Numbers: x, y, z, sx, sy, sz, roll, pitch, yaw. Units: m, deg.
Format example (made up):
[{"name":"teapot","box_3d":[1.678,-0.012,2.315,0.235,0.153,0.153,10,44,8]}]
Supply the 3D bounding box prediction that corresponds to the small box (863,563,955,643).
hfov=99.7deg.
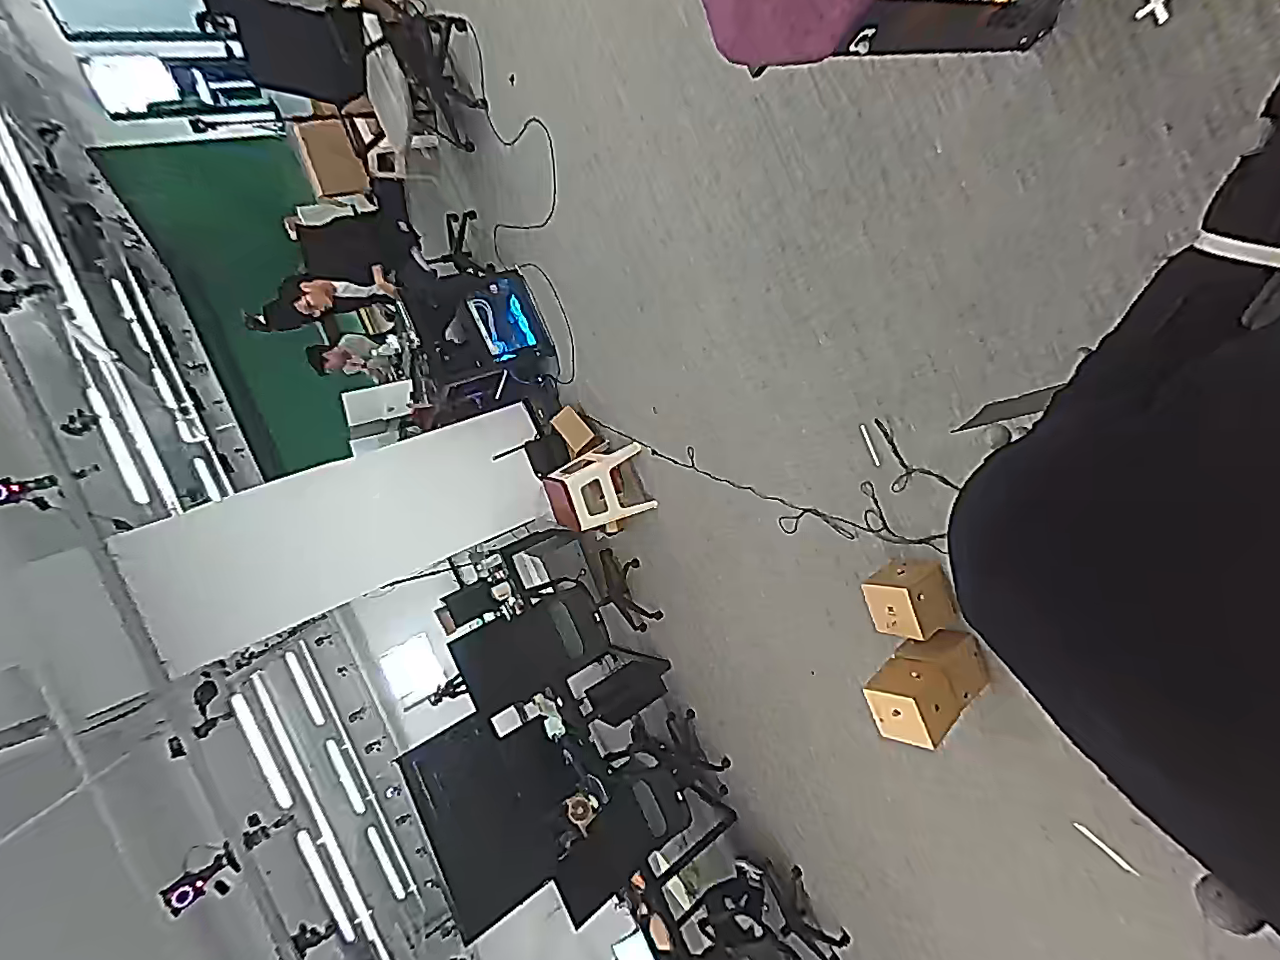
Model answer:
[{"name":"small box","box_3d":[0.832,0.370,1.670,0.168,0.176,0.179,-8,105,63]}]
